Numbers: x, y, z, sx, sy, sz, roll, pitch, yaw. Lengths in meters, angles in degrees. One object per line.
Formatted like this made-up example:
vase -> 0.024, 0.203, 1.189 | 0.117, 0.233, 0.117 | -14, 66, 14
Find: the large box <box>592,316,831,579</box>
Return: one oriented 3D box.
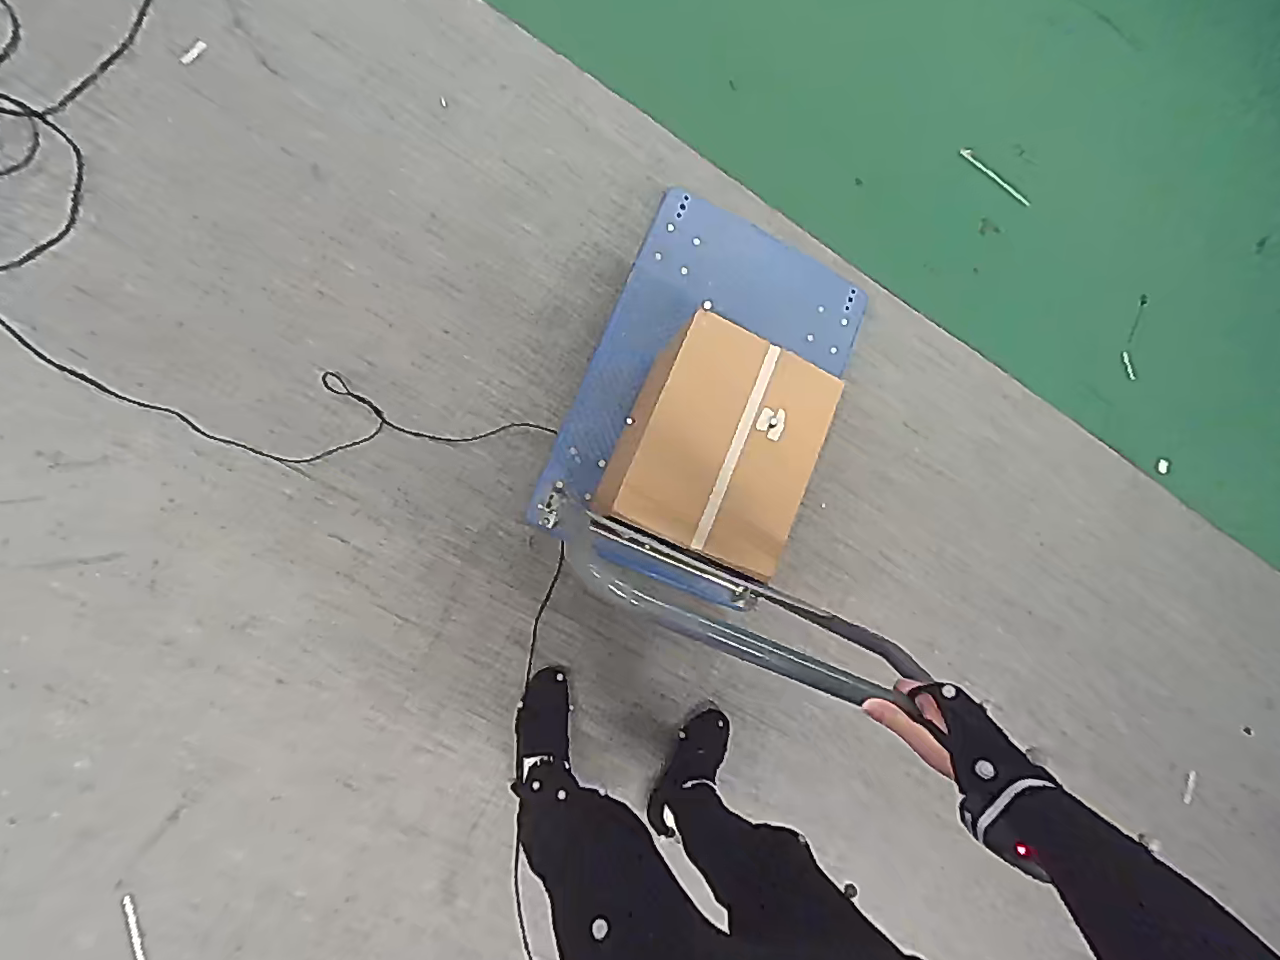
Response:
large box -> 0.126, -0.045, 1.119 | 0.320, 0.320, 0.408 | 24, 80, -11
